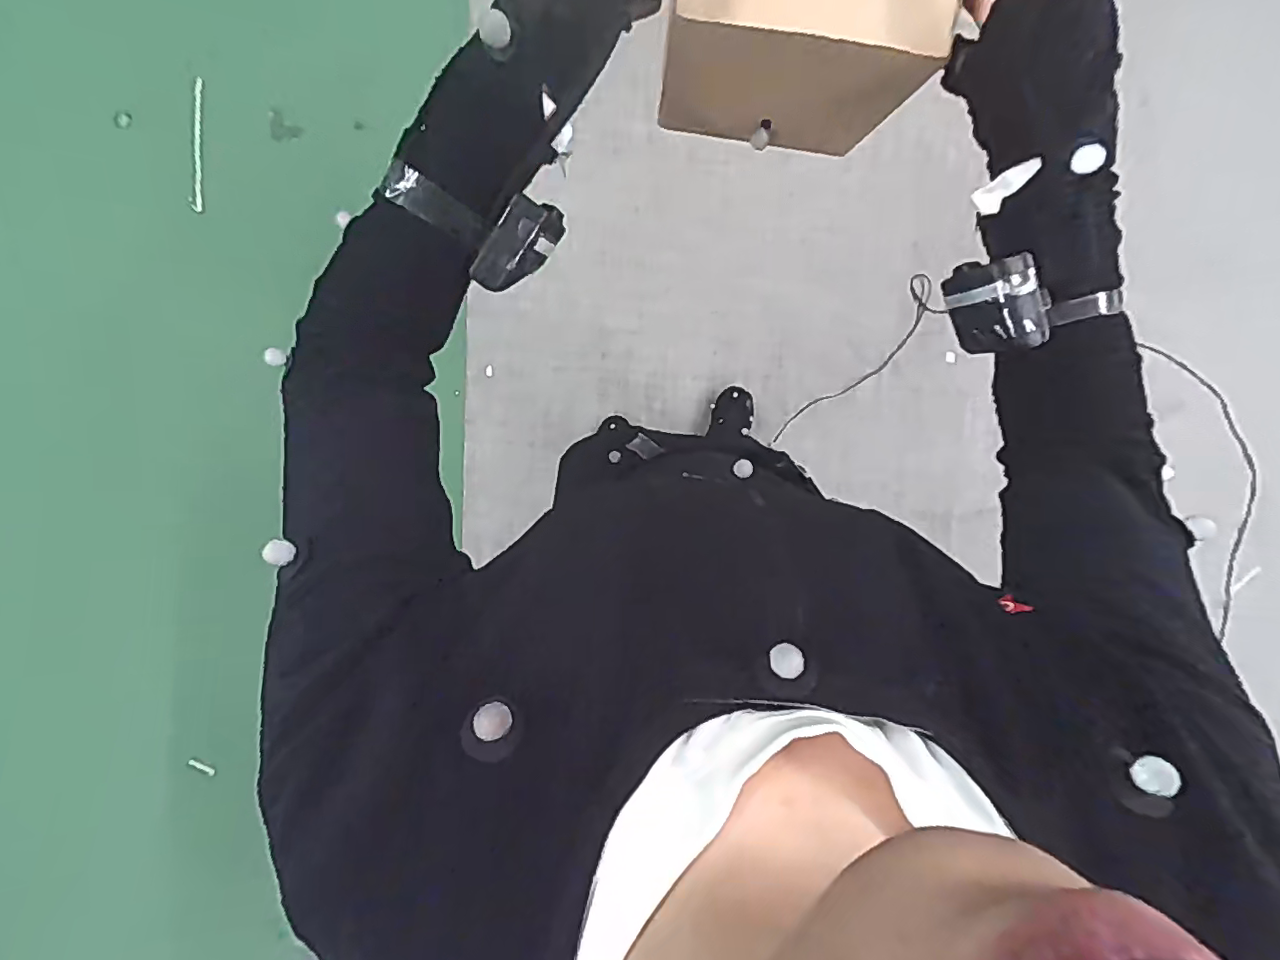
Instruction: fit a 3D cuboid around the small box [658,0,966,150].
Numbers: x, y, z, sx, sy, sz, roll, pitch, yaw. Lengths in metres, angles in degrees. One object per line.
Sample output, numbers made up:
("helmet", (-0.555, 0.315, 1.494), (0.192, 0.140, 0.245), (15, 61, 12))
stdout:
("small box", (0.116, -0.367, 0.392), (0.179, 0.176, 0.168), (7, 101, -5))
